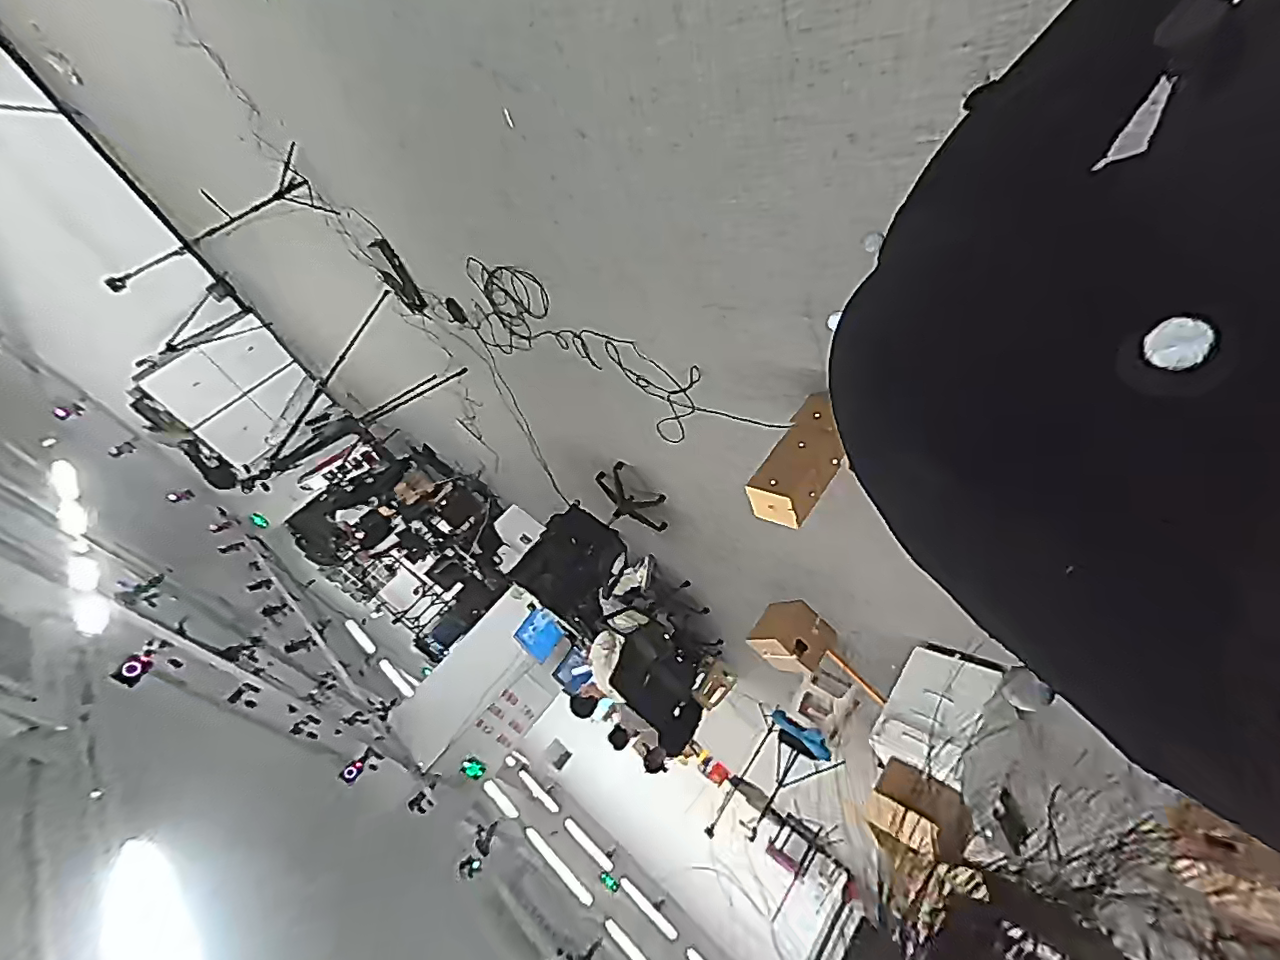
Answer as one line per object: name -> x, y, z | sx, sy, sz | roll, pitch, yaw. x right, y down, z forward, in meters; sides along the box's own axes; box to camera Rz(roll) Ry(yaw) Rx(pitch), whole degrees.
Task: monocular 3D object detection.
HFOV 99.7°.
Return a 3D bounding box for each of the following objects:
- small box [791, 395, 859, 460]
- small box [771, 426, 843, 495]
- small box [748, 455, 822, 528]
small box -> 0.695, -0.201, 2.007 | 0.179, 0.176, 0.168 | 16, 146, 45
small box -> 0.605, -0.075, 1.951 | 0.179, 0.176, 0.168 | 18, 148, 42
small box -> 0.507, 0.033, 1.880 | 0.179, 0.176, 0.168 | 17, 147, 43
